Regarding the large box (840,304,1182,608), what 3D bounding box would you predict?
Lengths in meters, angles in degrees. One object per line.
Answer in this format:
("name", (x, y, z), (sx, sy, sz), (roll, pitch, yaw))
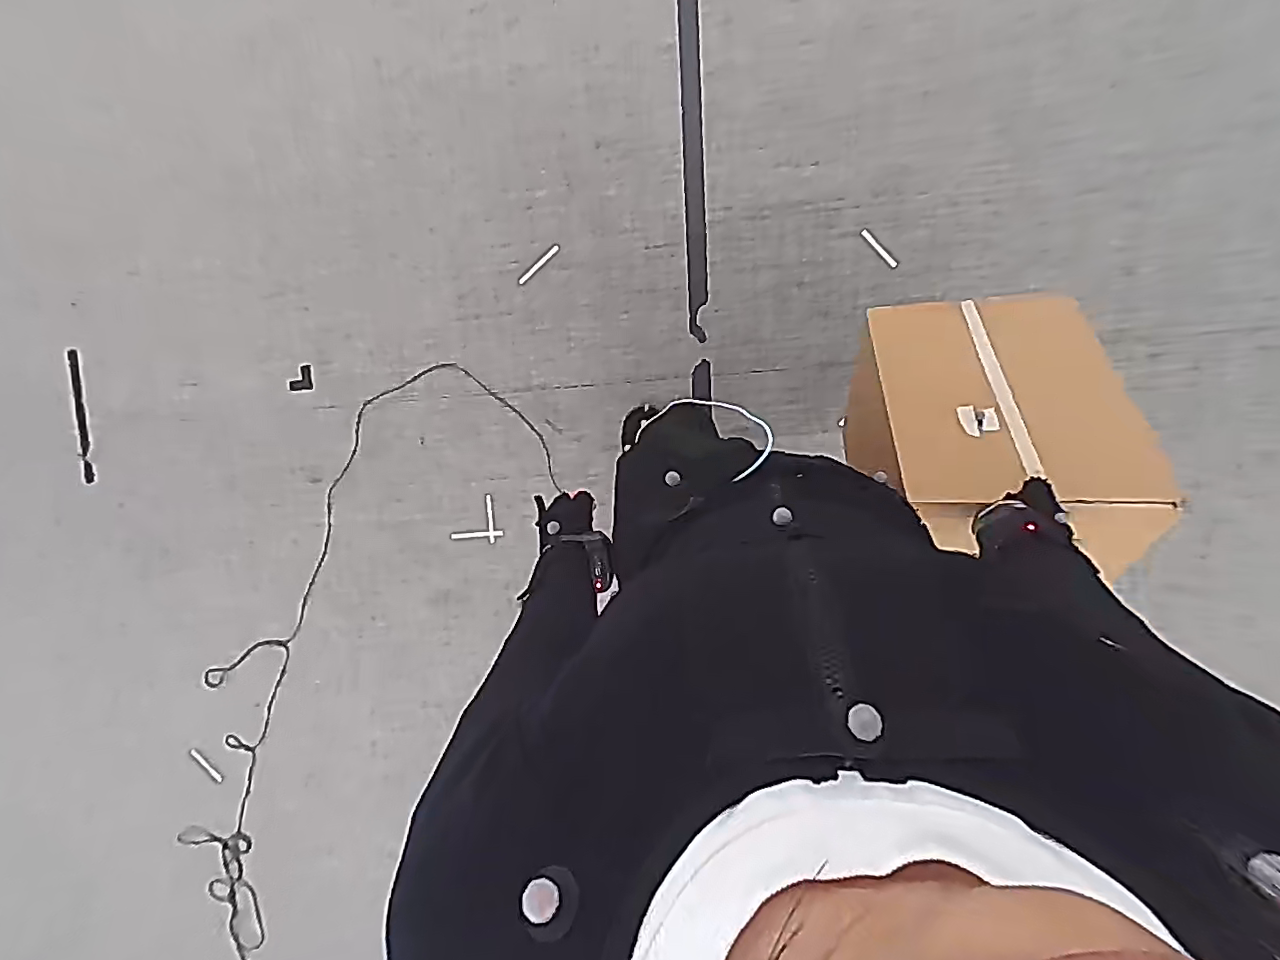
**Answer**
("large box", (0.537, -0.037, 0.902), (0.320, 0.320, 0.408), (-1, 54, 11))
